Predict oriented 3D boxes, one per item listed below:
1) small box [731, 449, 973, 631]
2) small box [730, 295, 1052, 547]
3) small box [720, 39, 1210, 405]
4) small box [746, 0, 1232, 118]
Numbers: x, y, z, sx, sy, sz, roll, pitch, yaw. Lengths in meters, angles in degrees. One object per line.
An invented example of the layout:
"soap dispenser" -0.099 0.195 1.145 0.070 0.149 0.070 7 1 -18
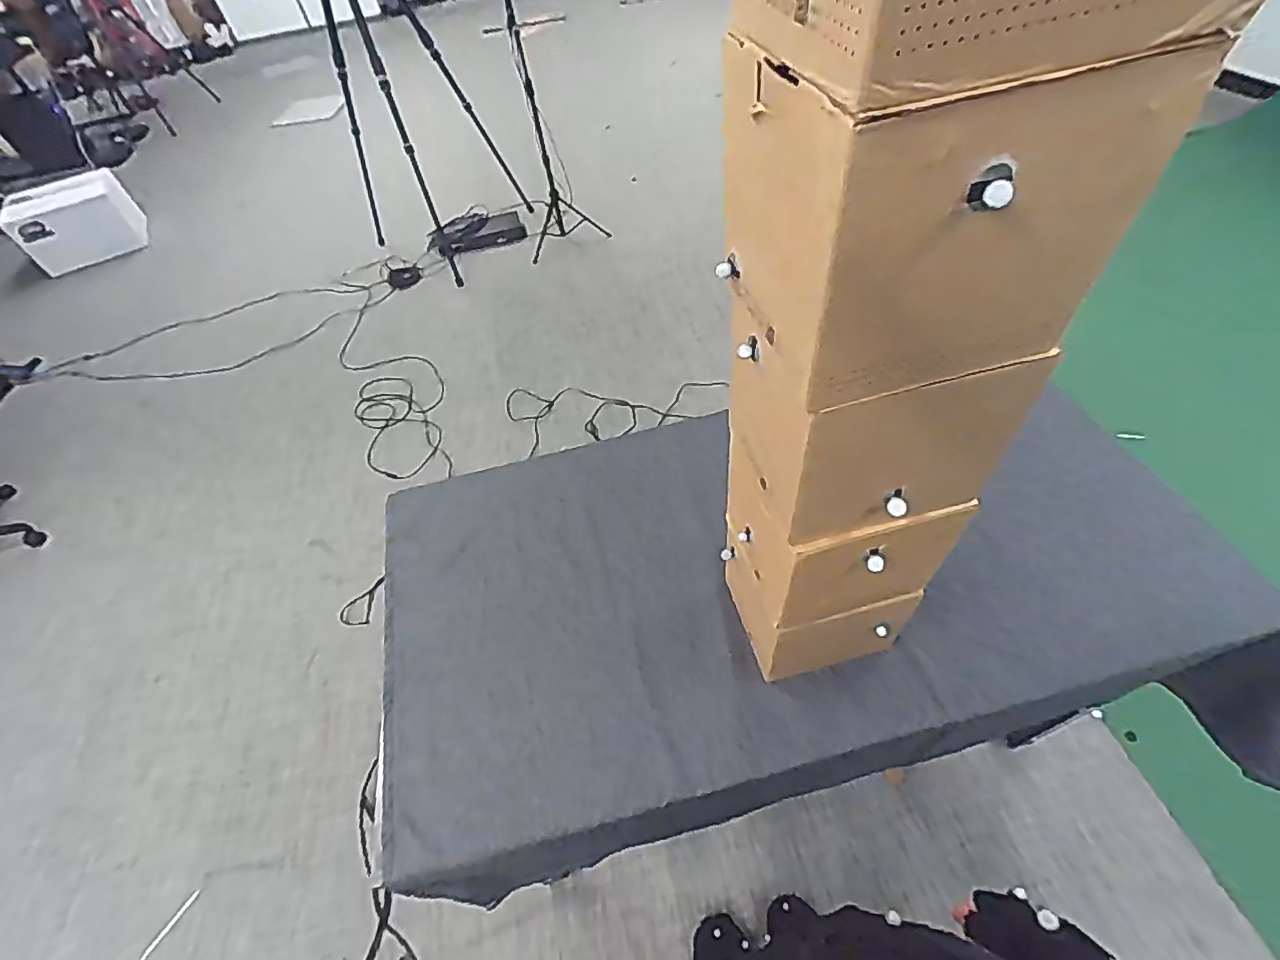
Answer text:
"small box" 0.207 0.040 0.590 0.179 0.176 0.168 -15 51 -4
"small box" 0.185 -0.066 0.467 0.179 0.176 0.168 -13 50 -3
"small box" 0.159 -0.170 0.342 0.179 0.176 0.168 -14 51 -4
"small box" 0.144 -0.273 0.216 0.179 0.176 0.168 -13 52 -1
